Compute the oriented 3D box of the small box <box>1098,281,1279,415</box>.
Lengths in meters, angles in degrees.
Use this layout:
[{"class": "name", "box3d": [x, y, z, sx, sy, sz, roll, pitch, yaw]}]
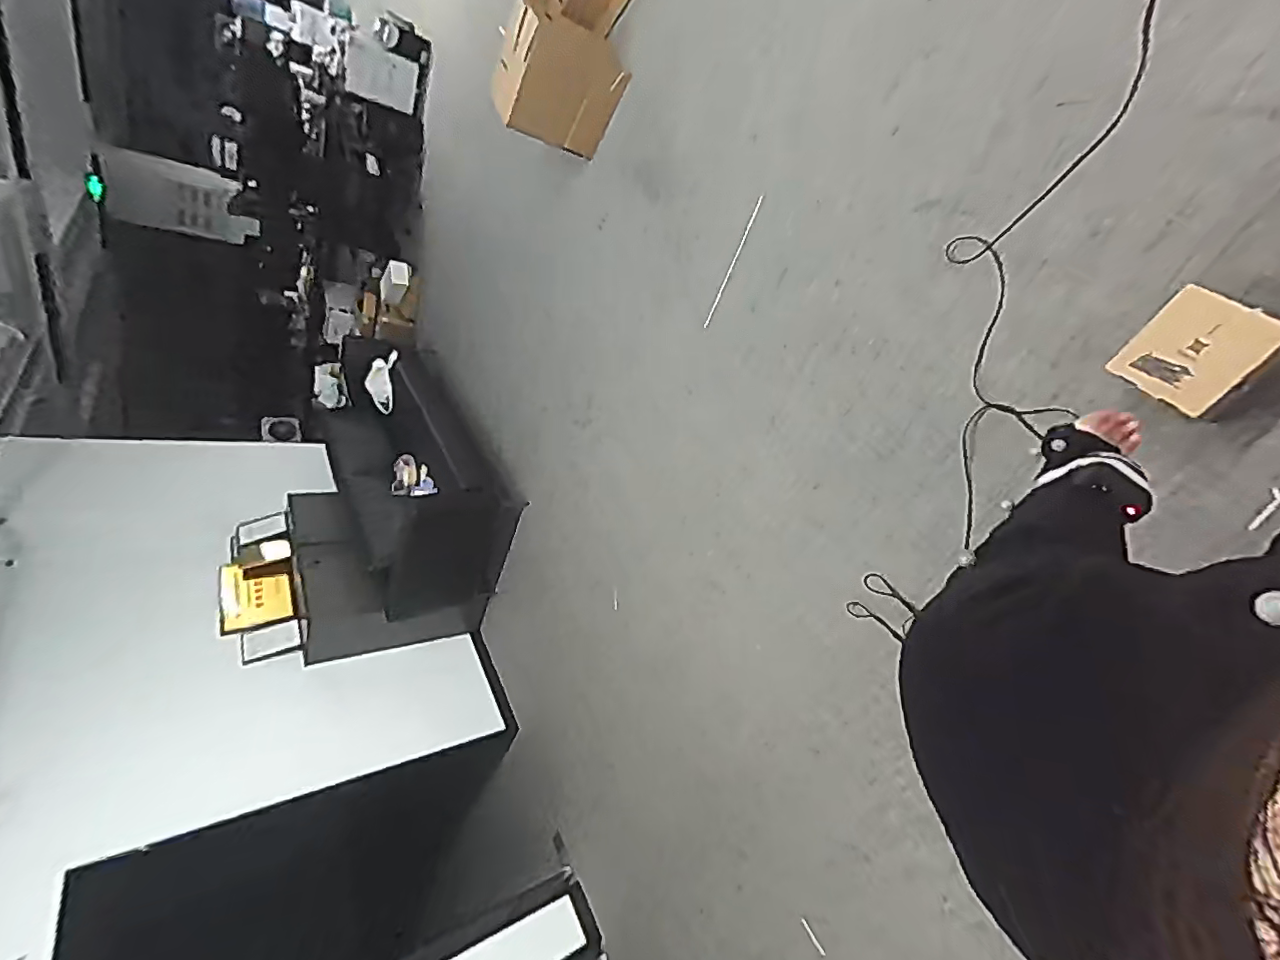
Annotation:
[{"class": "small box", "box3d": [1.010, -0.233, 0.993, 0.168, 0.176, 0.179, 54, 129, 35]}]
